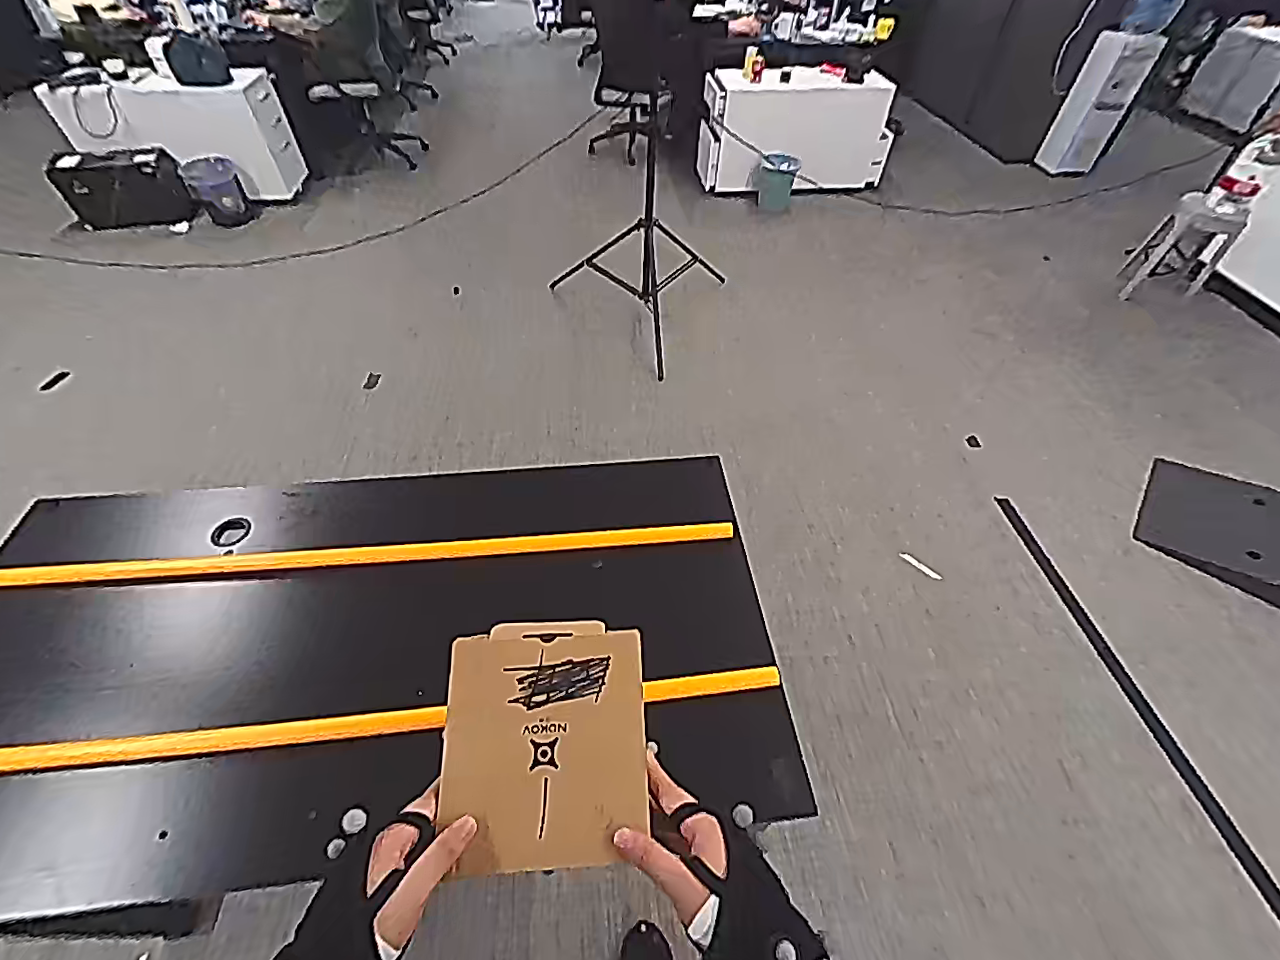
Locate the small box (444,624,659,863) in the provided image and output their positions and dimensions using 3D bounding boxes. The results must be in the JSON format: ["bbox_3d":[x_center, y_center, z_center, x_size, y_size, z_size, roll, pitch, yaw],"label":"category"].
[{"bbox_3d":[-0.075,0.248,0.520,0.168,0.176,0.179,-2,62,-4],"label":"small box"}]
